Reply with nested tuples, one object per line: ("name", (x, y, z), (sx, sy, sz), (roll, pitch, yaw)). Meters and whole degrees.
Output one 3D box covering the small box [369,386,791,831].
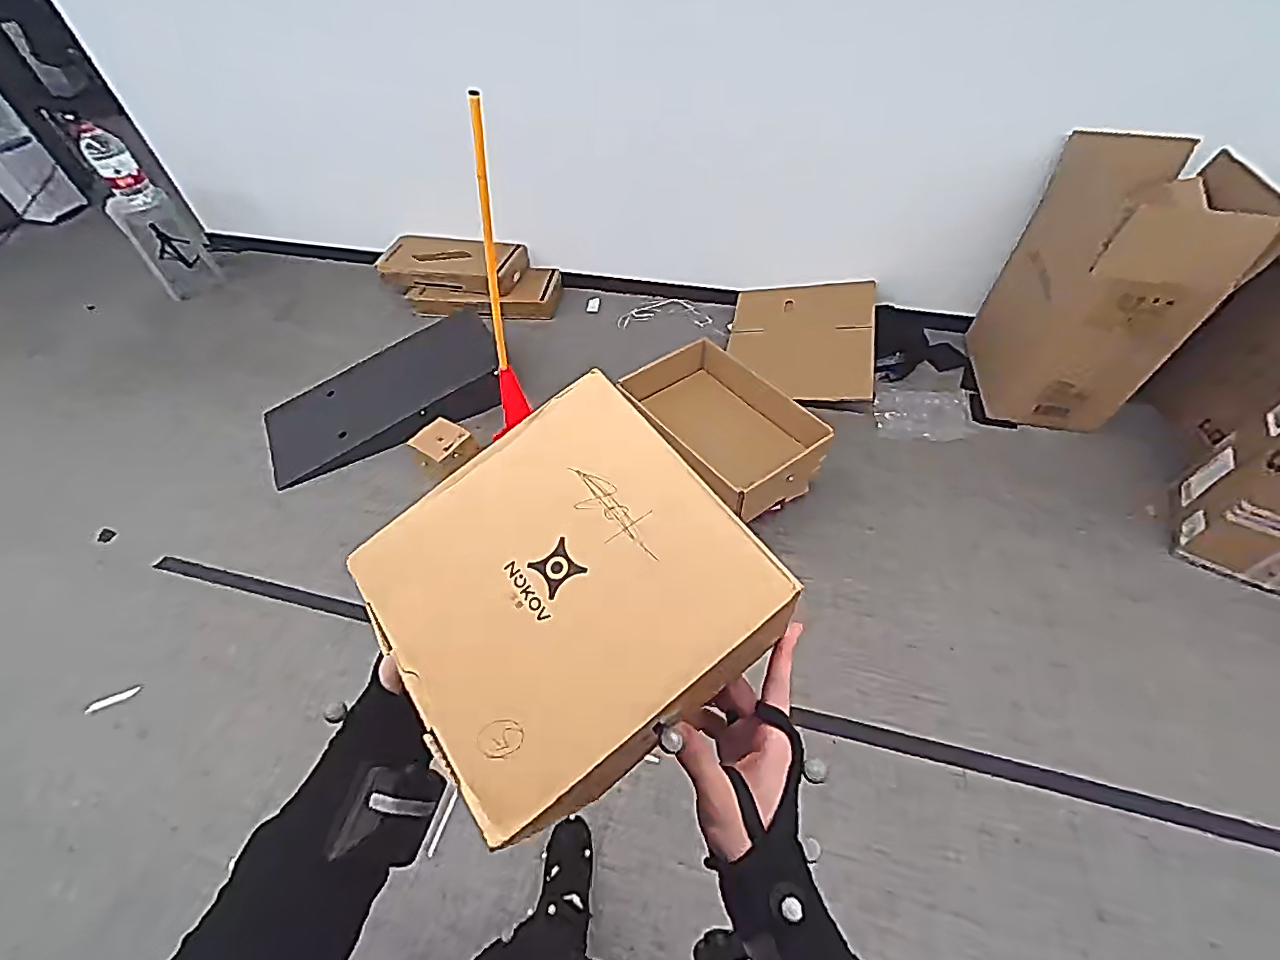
("small box", (-0.025, 0.082, 0.352), (0.179, 0.176, 0.168), (-38, 66, -7))
